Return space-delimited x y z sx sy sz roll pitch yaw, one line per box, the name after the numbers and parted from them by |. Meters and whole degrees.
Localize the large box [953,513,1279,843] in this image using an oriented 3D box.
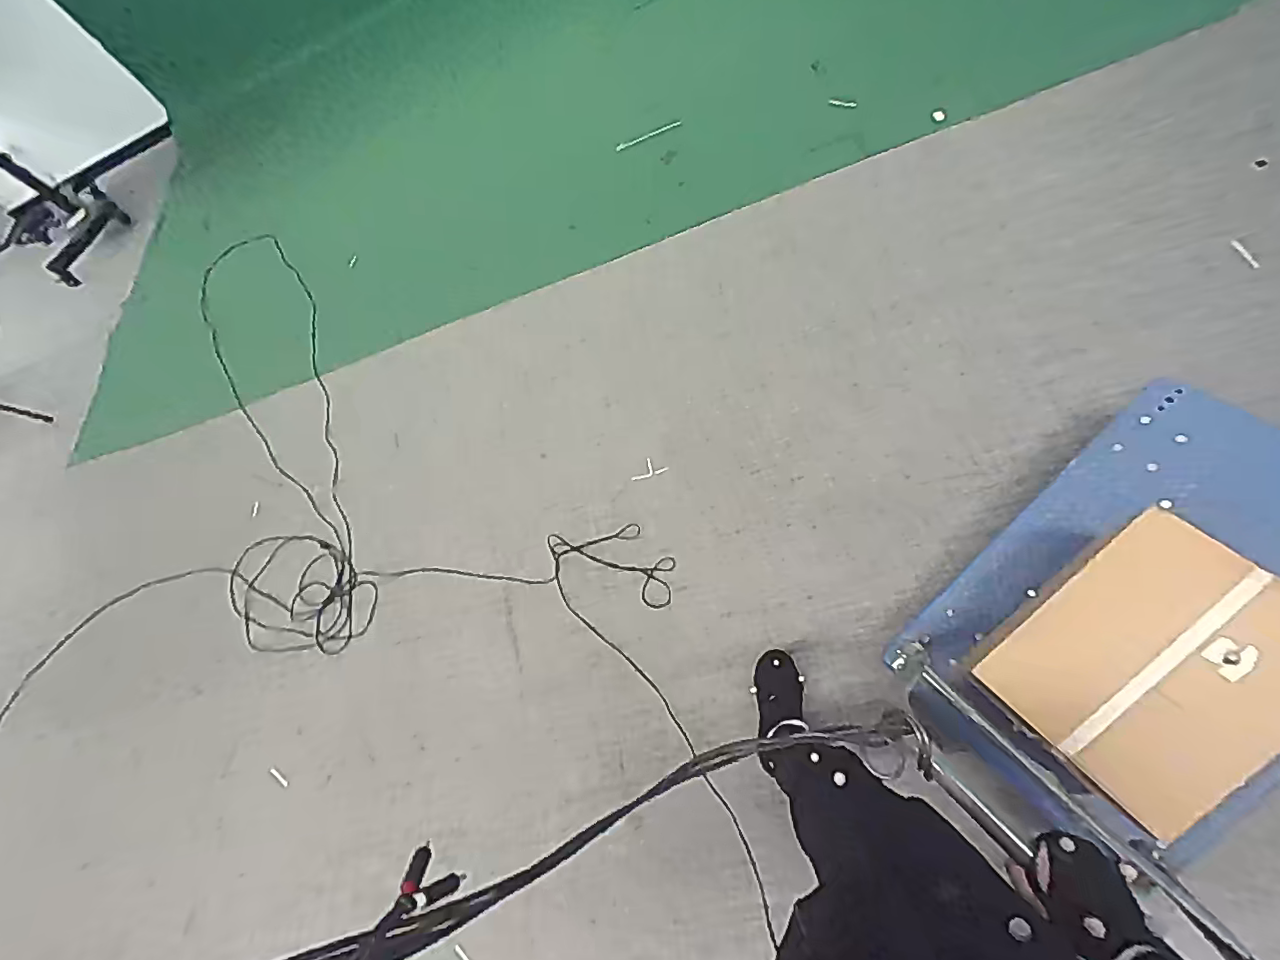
0.845 0.337 0.966 0.408 0.320 0.320 -45 60 4 | large box
